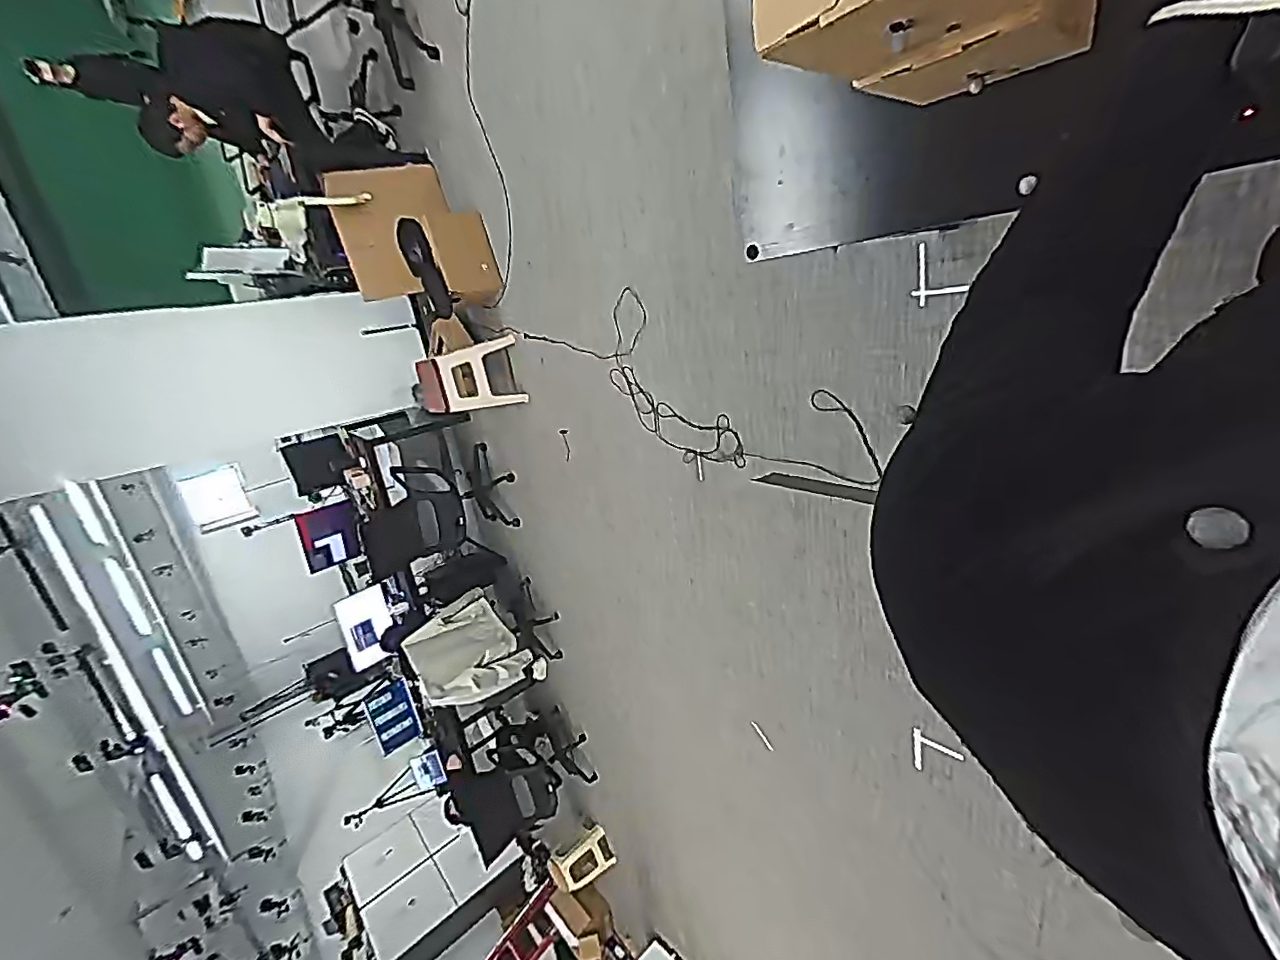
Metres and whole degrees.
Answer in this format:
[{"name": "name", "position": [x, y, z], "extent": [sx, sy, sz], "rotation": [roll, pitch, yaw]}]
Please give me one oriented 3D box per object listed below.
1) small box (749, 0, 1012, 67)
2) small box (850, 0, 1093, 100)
[{"name": "small box", "position": [0.196, -0.456, 0.422], "extent": [0.168, 0.176, 0.179], "rotation": [10, 117, 49]}, {"name": "small box", "position": [0.321, -0.499, 0.520], "extent": [0.168, 0.176, 0.179], "rotation": [15, 120, 48]}]
